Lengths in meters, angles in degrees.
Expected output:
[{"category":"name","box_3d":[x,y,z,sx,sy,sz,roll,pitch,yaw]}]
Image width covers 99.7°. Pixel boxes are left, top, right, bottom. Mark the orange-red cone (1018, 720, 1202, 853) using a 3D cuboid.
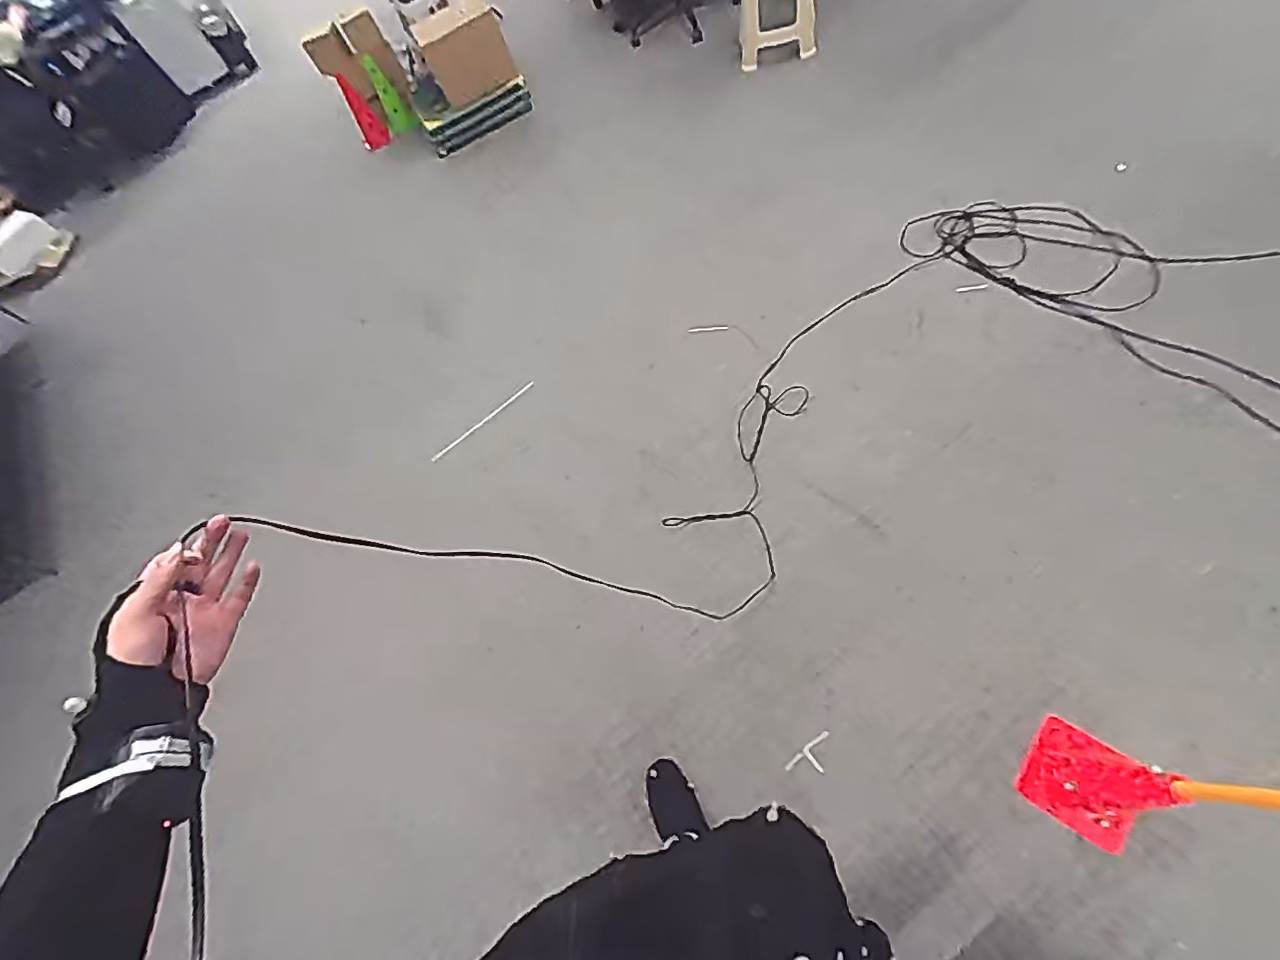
[{"category":"orange-red cone","box_3d":[0.914,0.576,1.017,0.198,0.360,0.199,32,74,26]}]
